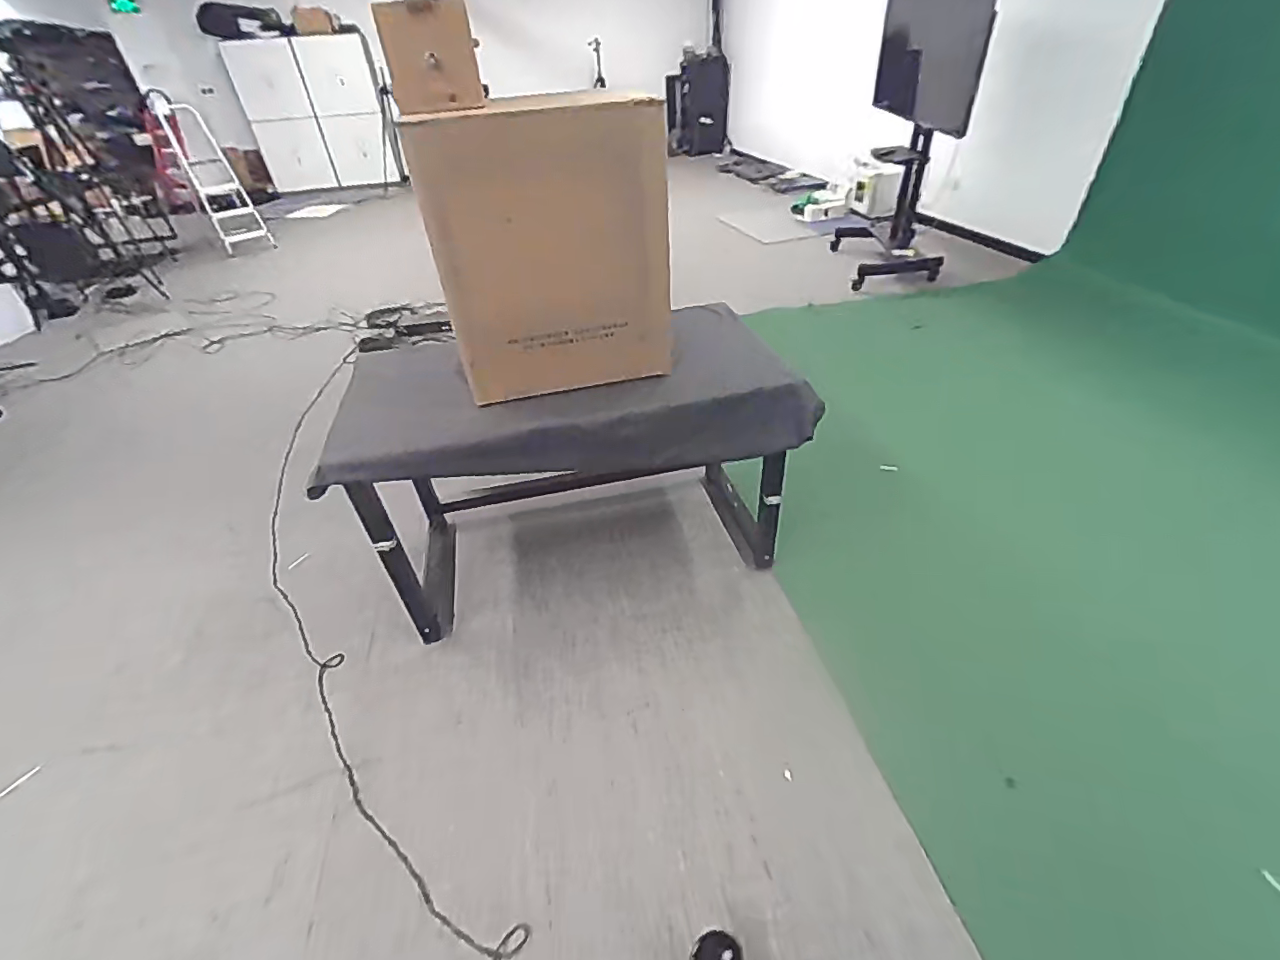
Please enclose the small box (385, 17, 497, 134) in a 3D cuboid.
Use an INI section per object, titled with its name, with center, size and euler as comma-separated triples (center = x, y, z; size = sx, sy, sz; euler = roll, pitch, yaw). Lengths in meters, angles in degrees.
[small box]
center = -0.394, -0.809, 1.086
size = 0.168, 0.176, 0.179
euler = -15, 41, -11
